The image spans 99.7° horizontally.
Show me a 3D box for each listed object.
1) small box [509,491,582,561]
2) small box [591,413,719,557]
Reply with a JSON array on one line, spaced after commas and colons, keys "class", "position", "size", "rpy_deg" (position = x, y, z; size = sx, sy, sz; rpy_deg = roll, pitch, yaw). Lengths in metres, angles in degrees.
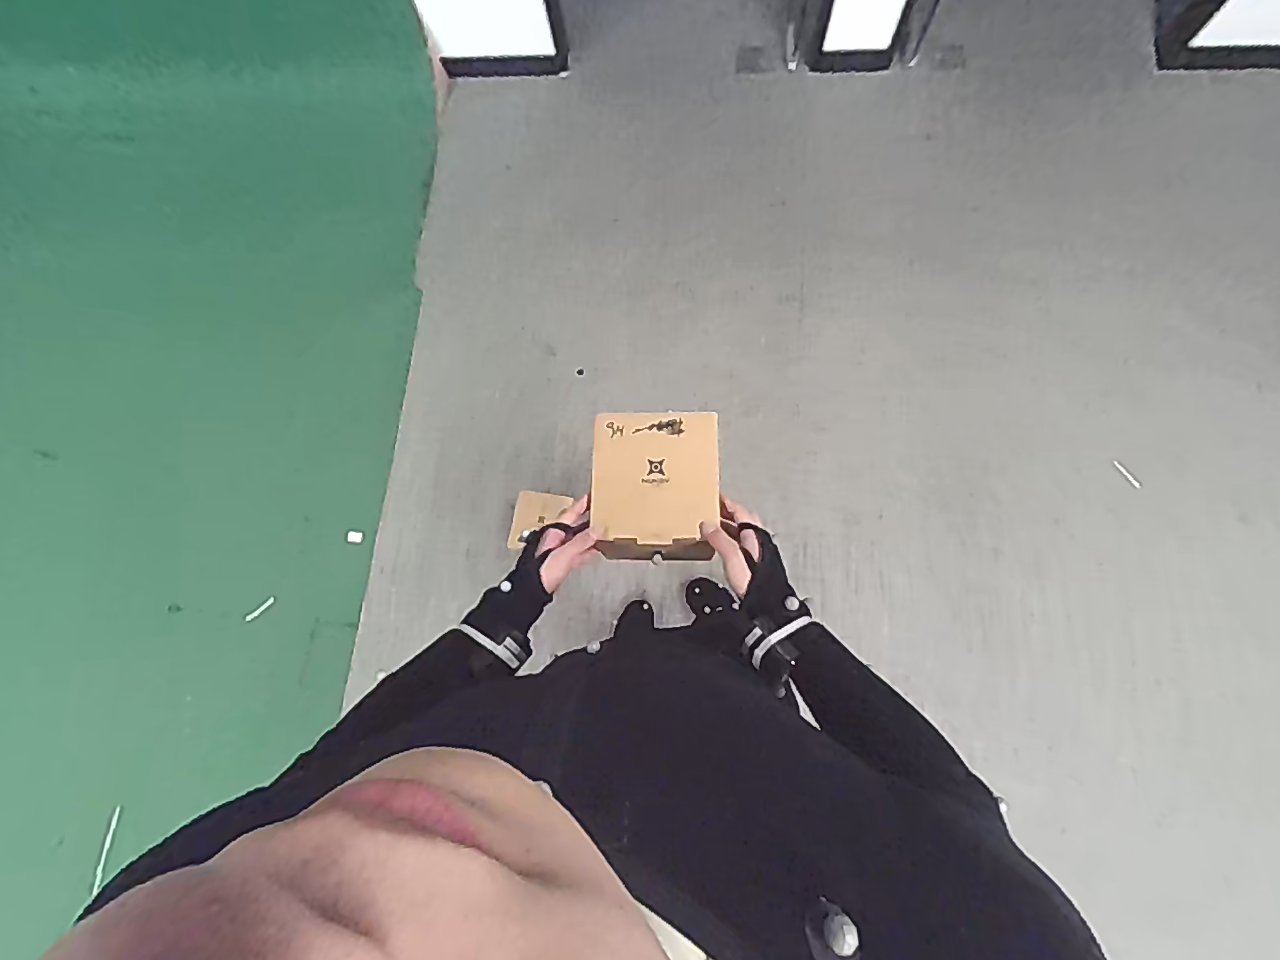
[{"class": "small box", "position": [-0.281, 0.145, 1.647], "size": [0.168, 0.176, 0.179], "rpy_deg": [9, 78, 5]}, {"class": "small box", "position": [0.027, 0.016, 0.777], "size": [0.168, 0.176, 0.179], "rpy_deg": [0, 74, 4]}]
